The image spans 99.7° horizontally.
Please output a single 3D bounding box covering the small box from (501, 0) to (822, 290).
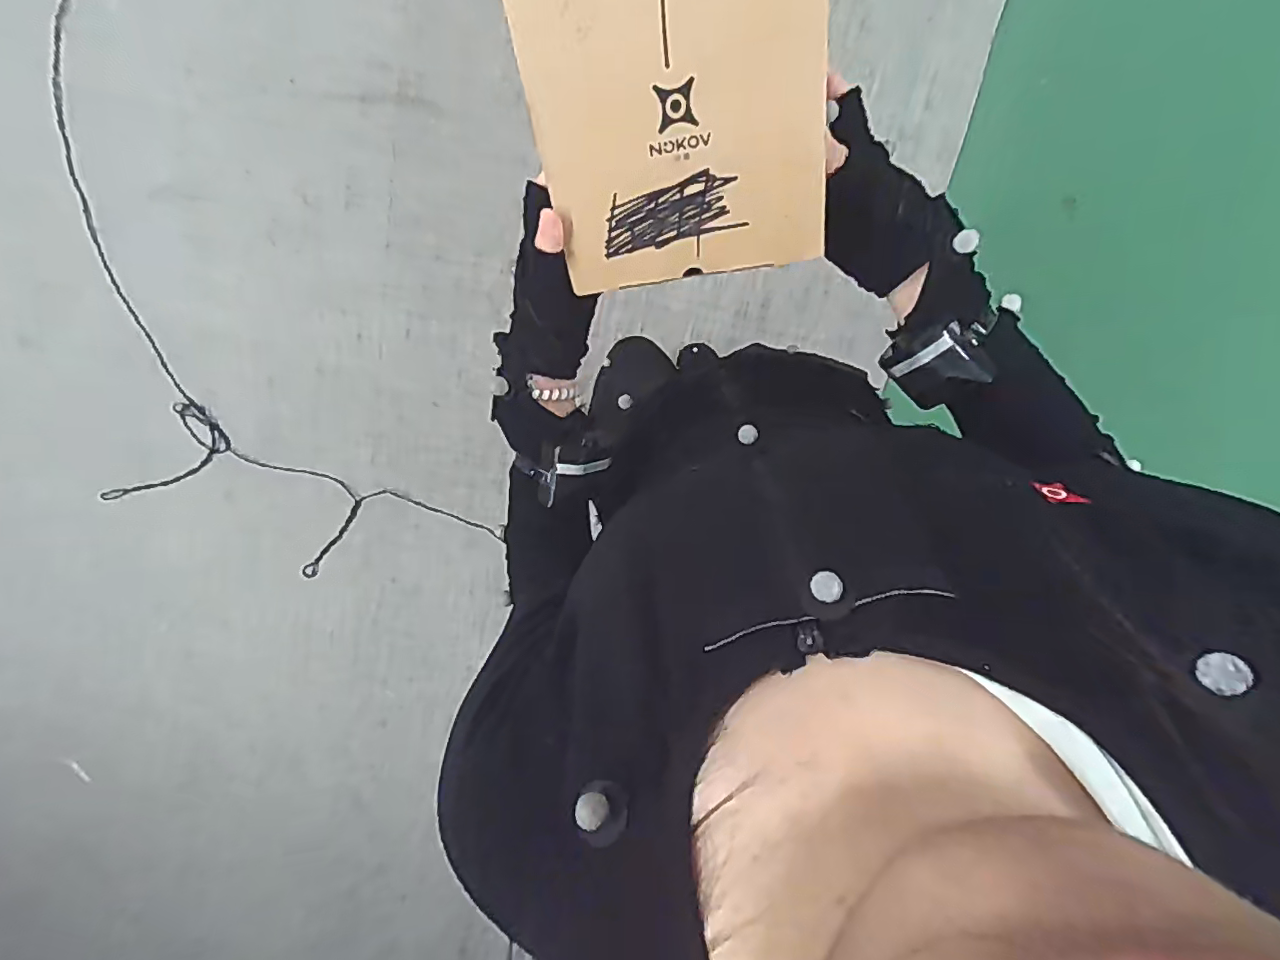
[{"bbox_3d":[0.027,-0.253,0.370,0.168,0.176,0.179,-5,126,11],"label":"small box"}]
